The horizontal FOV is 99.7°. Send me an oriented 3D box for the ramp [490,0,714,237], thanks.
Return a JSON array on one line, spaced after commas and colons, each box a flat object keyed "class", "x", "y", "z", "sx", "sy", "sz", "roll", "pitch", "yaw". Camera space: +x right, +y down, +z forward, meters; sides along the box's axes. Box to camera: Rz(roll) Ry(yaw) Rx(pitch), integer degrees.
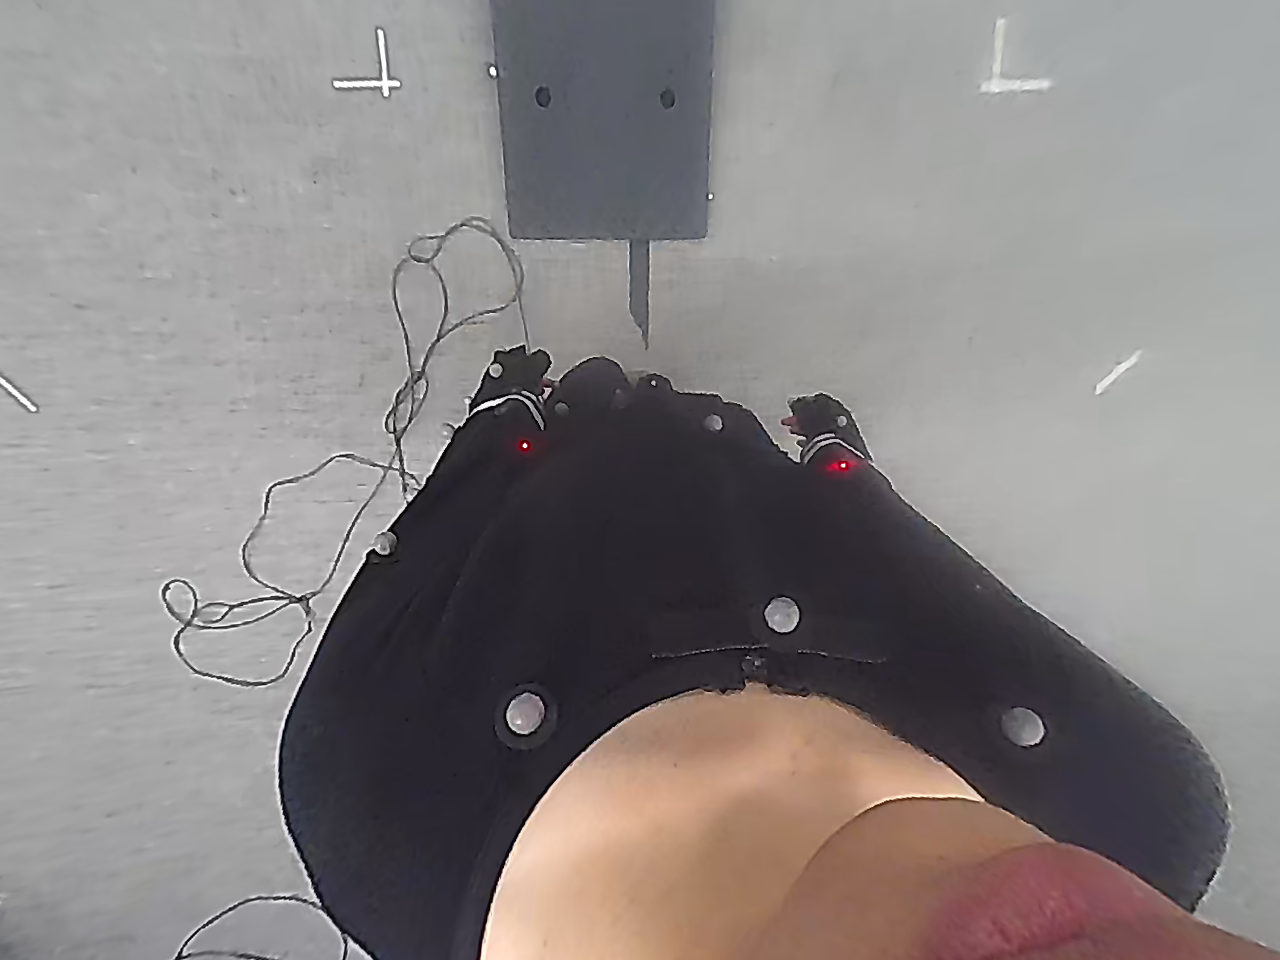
[{"class": "ramp", "x": -0.080, "y": -1.073, "z": 1.167, "sx": 0.509, "sy": 0.206, "sz": 0.991, "roll": -3, "pitch": 102, "yaw": -3}]
